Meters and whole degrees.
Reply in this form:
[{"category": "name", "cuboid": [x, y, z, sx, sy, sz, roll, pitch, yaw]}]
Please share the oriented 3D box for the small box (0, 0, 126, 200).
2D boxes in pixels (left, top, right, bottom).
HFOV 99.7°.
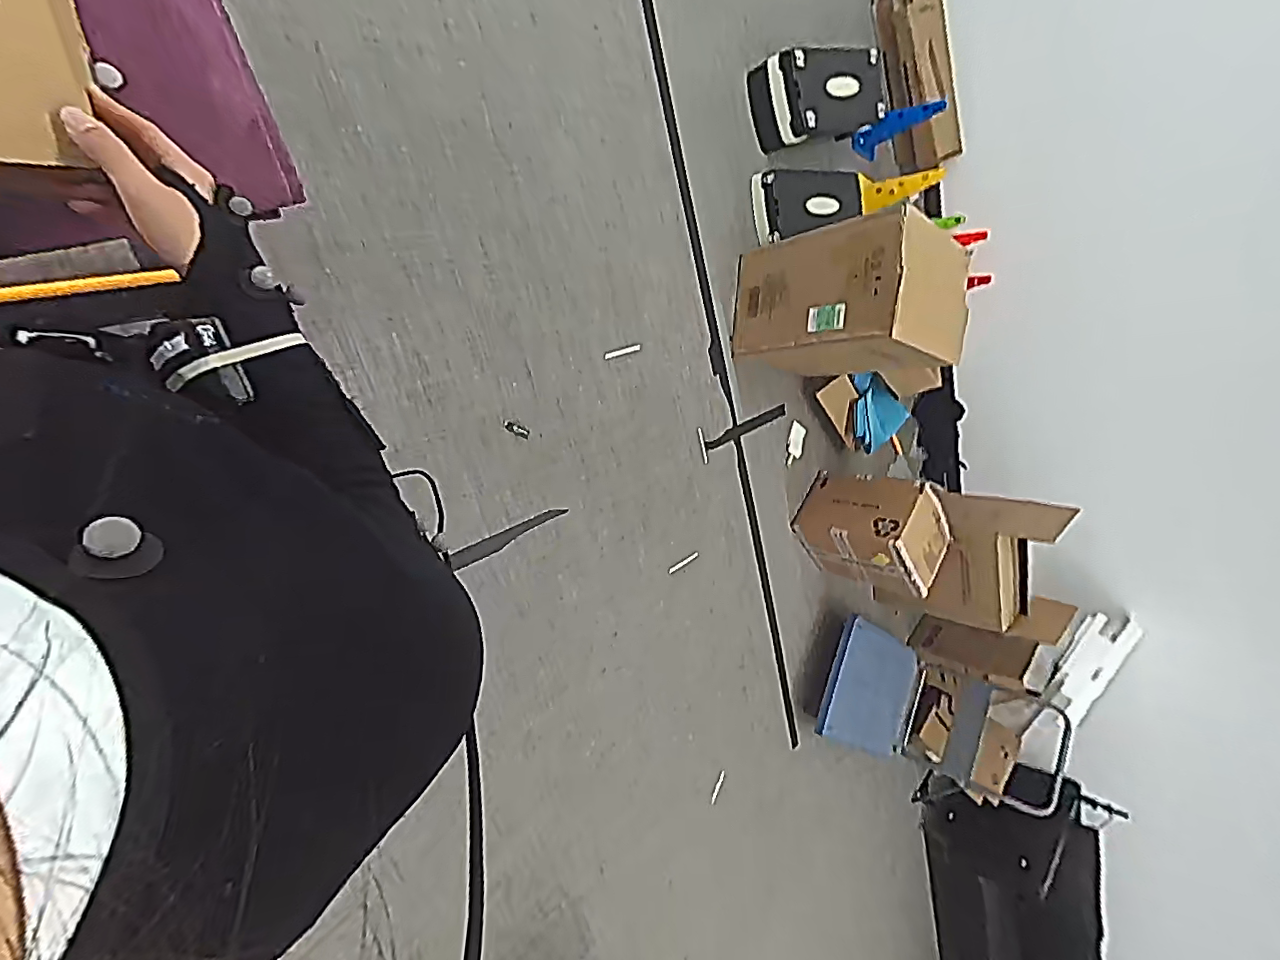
[{"category": "small box", "cuboid": [-0.441, -0.263, 0.310, 0.179, 0.176, 0.168, -15, 116, -35]}]
